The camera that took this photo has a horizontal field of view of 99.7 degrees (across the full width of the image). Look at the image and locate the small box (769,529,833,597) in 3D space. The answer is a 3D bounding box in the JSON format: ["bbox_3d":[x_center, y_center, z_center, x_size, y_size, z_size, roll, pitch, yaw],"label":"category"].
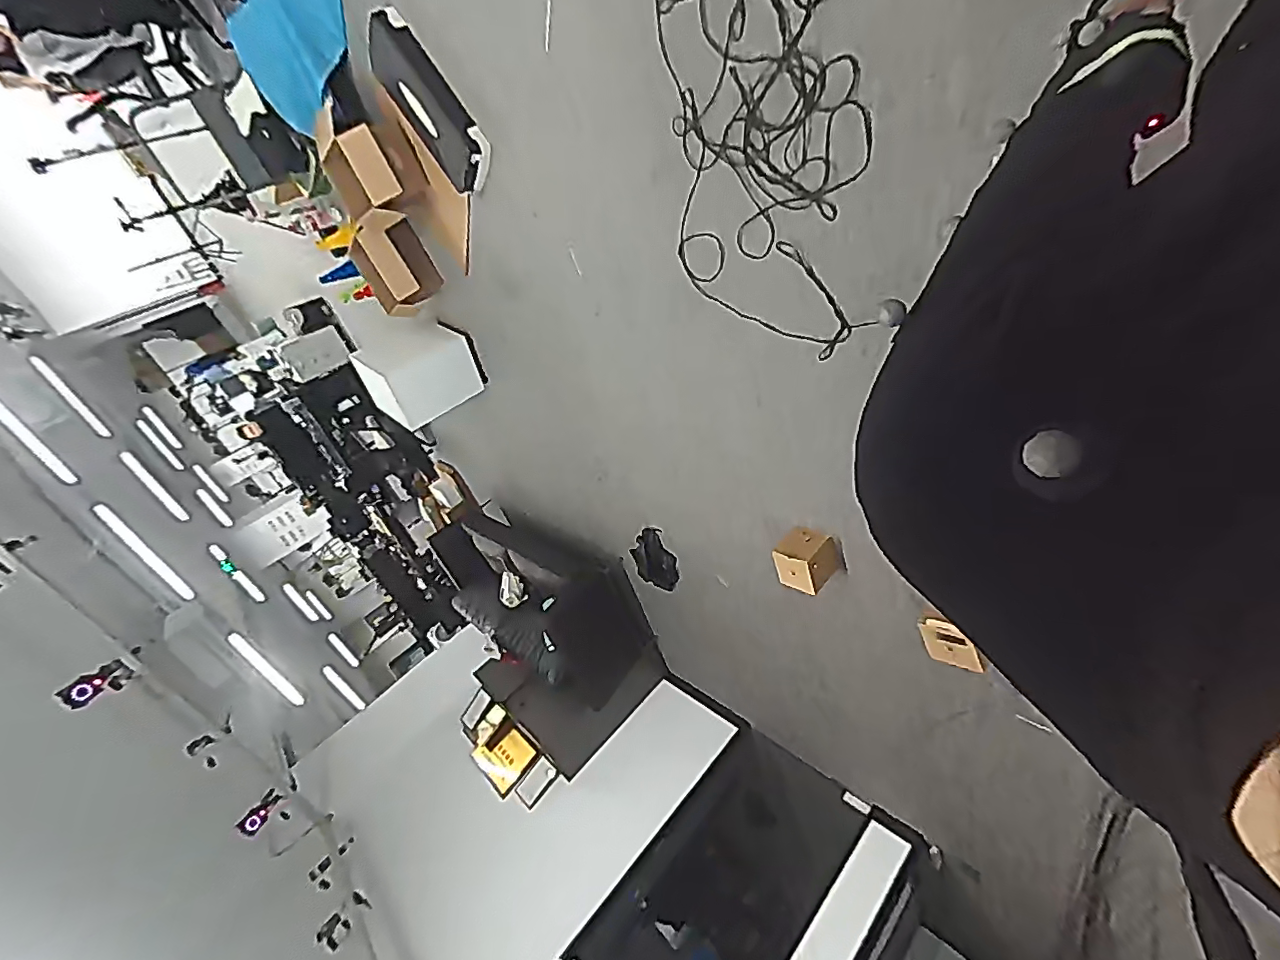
[{"bbox_3d":[0.640,0.324,2.132,0.168,0.176,0.179,15,135,49],"label":"small box"}]
